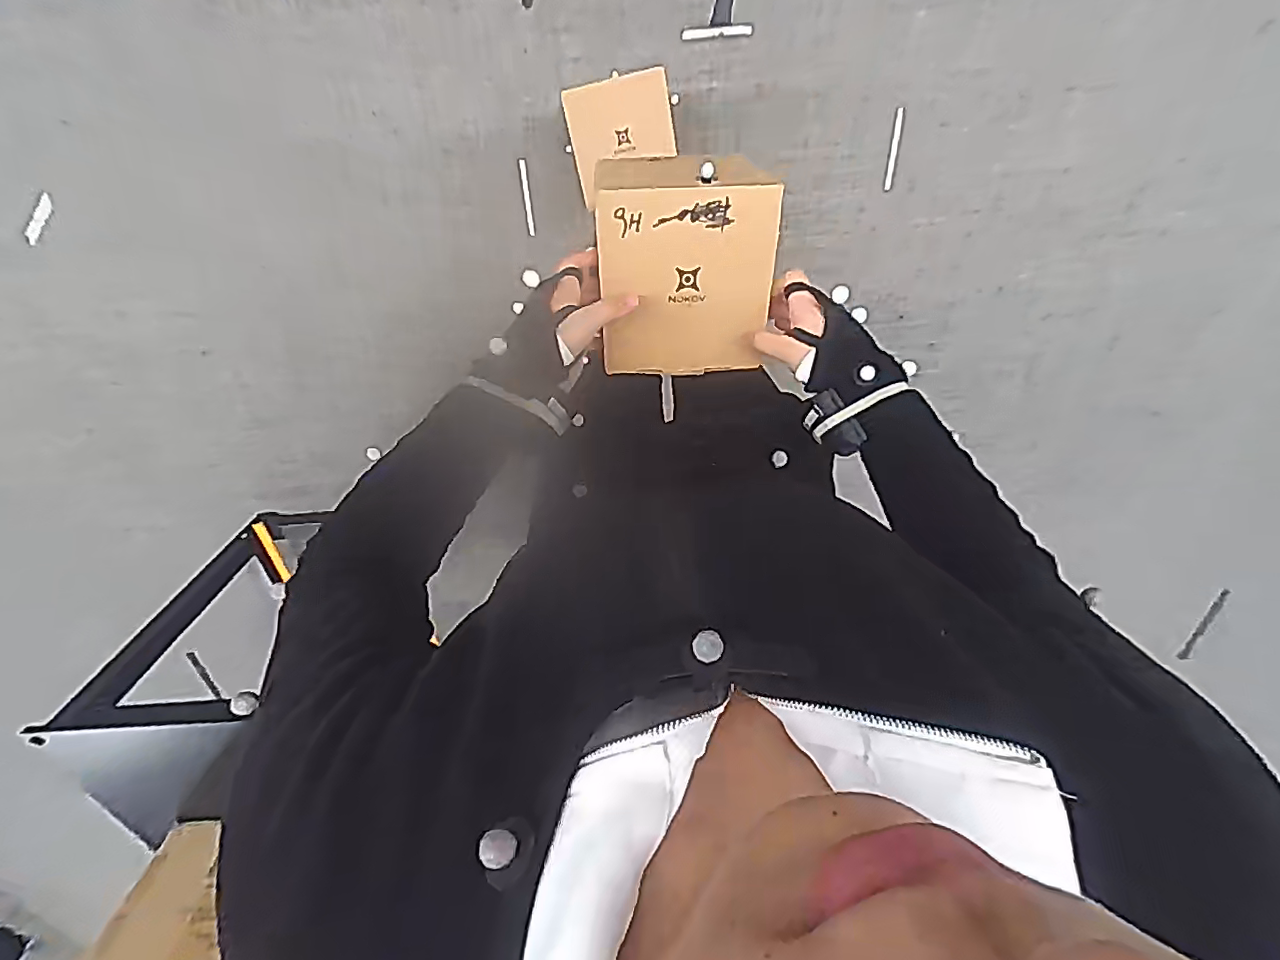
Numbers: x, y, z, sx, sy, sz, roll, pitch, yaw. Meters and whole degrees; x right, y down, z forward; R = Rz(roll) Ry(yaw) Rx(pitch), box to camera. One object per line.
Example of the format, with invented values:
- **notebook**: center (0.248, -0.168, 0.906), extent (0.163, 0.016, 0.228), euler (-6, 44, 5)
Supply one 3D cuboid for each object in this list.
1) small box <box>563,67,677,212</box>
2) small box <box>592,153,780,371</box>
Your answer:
- **small box**: center (-0.026, -0.580, 0.935), extent (0.168, 0.176, 0.179), euler (-10, 122, 7)
- **small box**: center (0.038, -0.234, 0.577), extent (0.168, 0.176, 0.179), euler (-2, 129, -2)
